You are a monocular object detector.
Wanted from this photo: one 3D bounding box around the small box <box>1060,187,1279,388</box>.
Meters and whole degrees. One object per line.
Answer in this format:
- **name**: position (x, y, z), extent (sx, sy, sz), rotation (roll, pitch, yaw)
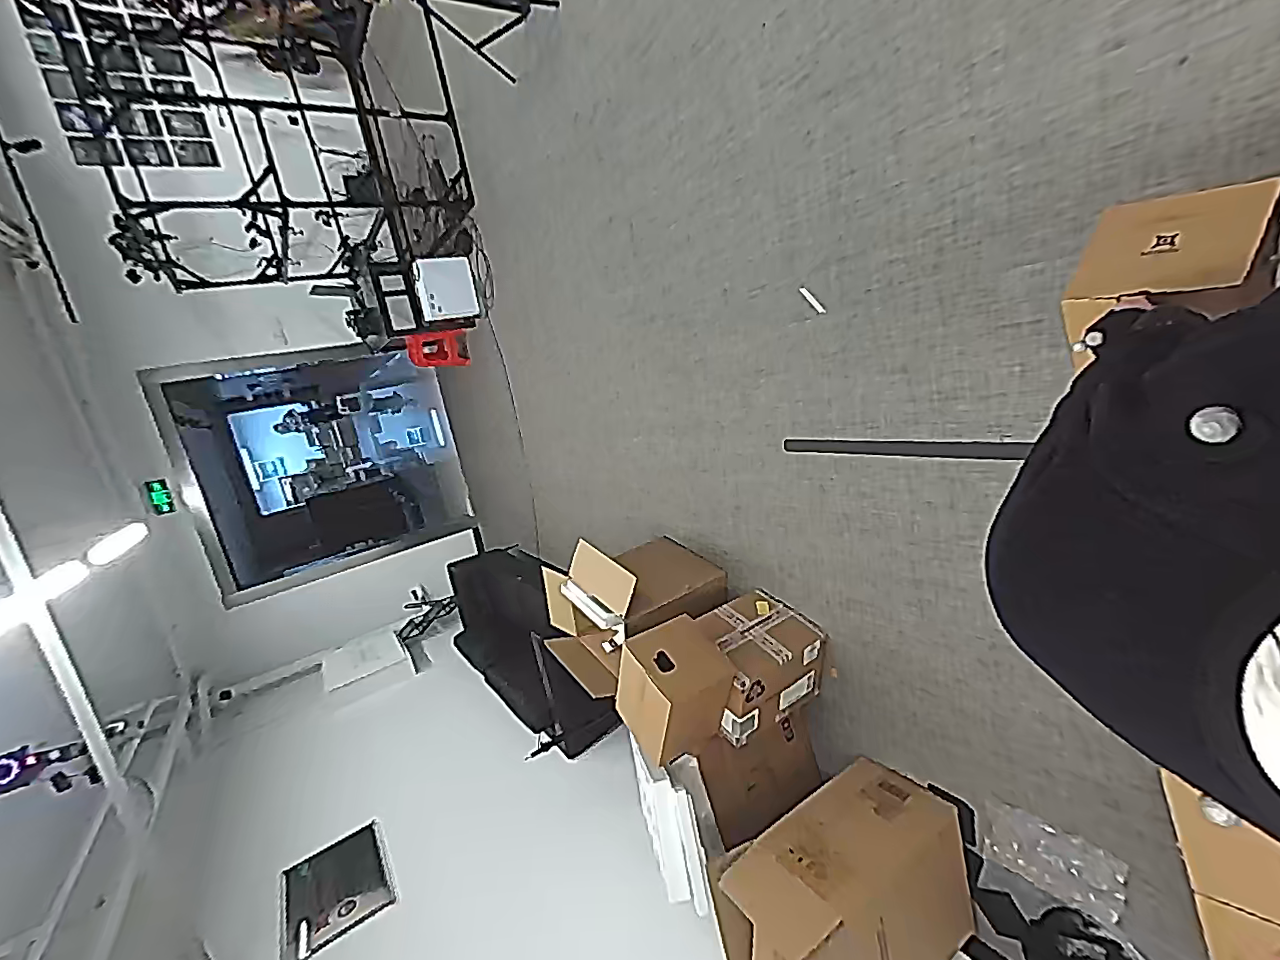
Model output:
- **small box**: position (0.696, -0.239, 0.715), extent (0.168, 0.179, 0.176), rotation (17, 159, 51)
